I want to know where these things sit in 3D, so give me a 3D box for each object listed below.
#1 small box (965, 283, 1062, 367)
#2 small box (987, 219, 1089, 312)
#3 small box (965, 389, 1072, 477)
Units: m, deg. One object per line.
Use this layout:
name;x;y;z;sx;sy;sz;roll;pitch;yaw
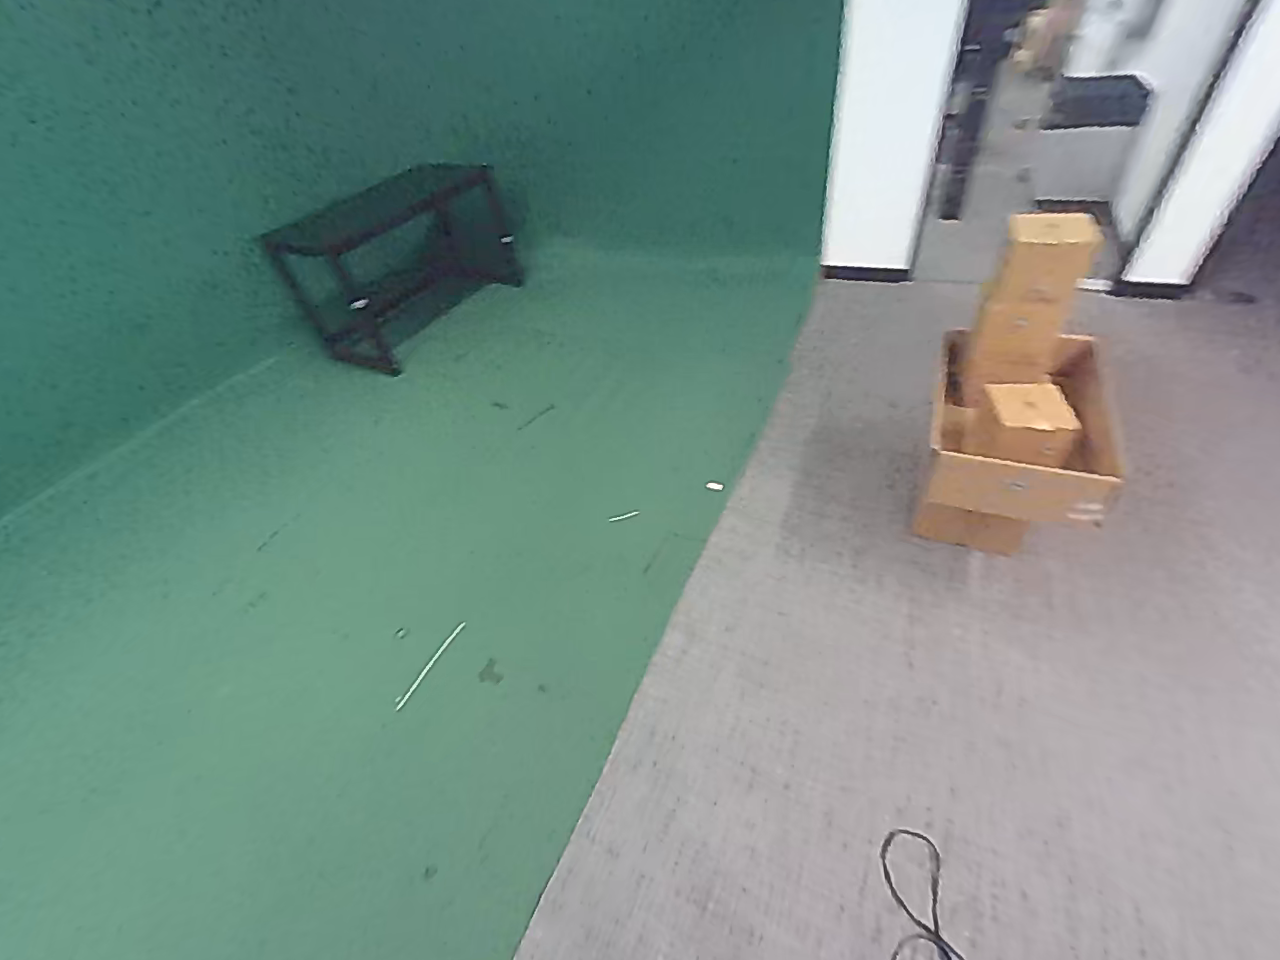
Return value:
small box;1.028;-0.430;1.503;0.179;0.176;0.168;7;47;20
small box;1.014;-0.553;1.394;0.168;0.176;0.179;9;48;21
small box;0.992;-0.124;1.434;0.168;0.176;0.179;2;45;12
